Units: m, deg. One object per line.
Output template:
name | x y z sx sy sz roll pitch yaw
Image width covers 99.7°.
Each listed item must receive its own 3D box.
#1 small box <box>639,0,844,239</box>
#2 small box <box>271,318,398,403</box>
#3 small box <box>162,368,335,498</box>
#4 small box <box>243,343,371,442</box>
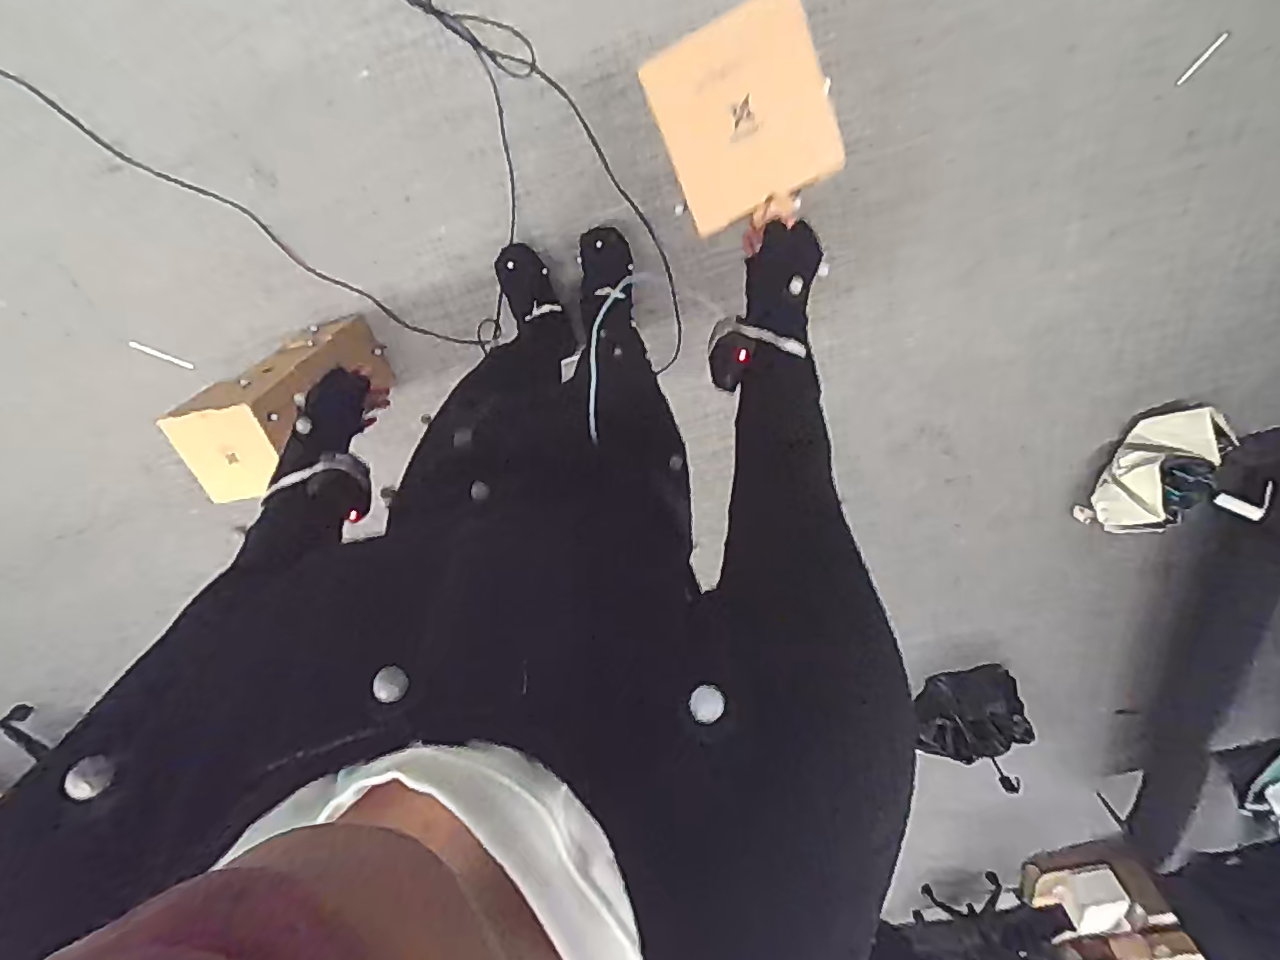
small box | 0.114 -0.398 0.623 0.168 0.176 0.179 -21 108 14
small box | -0.721 -0.275 1.297 0.168 0.176 0.179 -14 121 10
small box | -0.720 -0.092 1.023 0.168 0.176 0.179 -9 122 3
small box | -0.717 -0.180 1.159 0.168 0.176 0.179 -13 123 6
